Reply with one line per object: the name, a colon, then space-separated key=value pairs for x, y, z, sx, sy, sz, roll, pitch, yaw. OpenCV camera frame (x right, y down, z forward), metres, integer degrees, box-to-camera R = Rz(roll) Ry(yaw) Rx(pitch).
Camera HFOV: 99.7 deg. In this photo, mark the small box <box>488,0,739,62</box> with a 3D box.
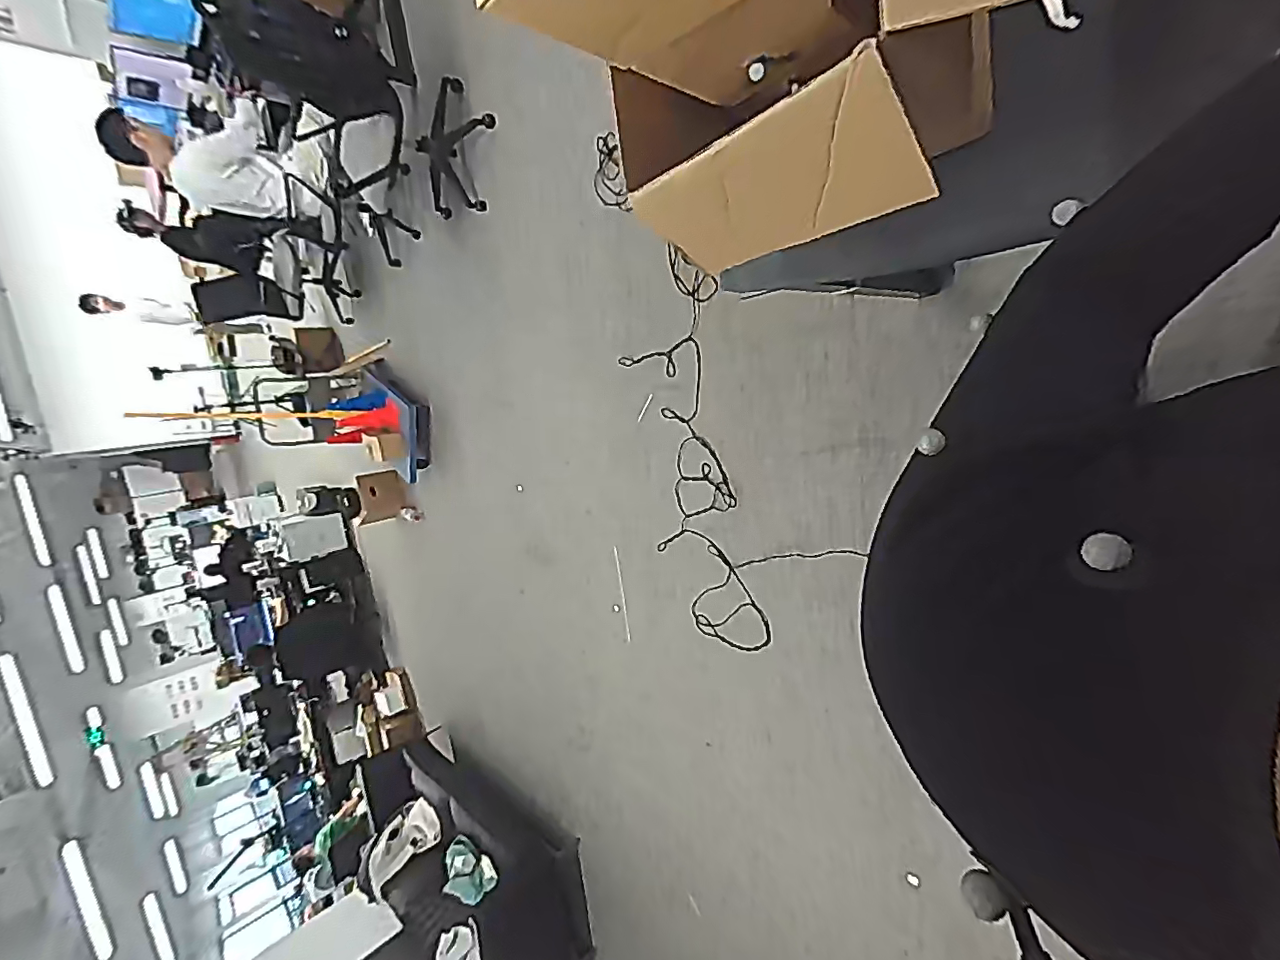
small box: x=-0.014 y=-0.479 z=0.432 sx=0.179 sy=0.176 sz=0.168 roll=10 pitch=109 yaw=45
